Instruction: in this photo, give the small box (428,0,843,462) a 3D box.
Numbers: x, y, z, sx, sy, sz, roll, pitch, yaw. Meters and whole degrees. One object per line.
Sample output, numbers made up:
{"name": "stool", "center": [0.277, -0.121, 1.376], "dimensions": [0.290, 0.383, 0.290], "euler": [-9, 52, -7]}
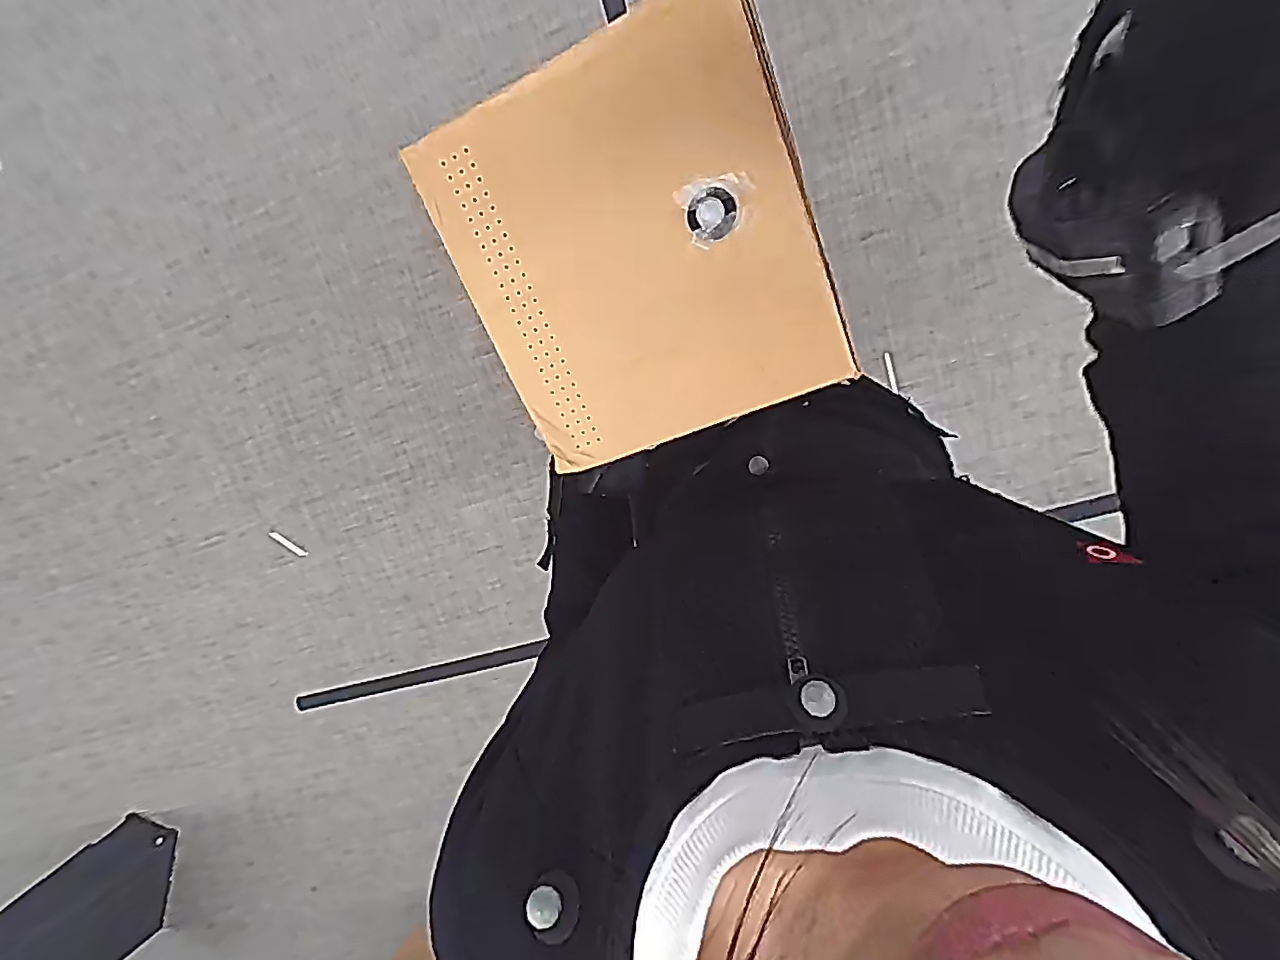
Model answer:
{"name": "small box", "center": [0.006, -0.135, 0.338], "dimensions": [0.176, 0.168, 0.179], "euler": [-18, 108, 18]}
